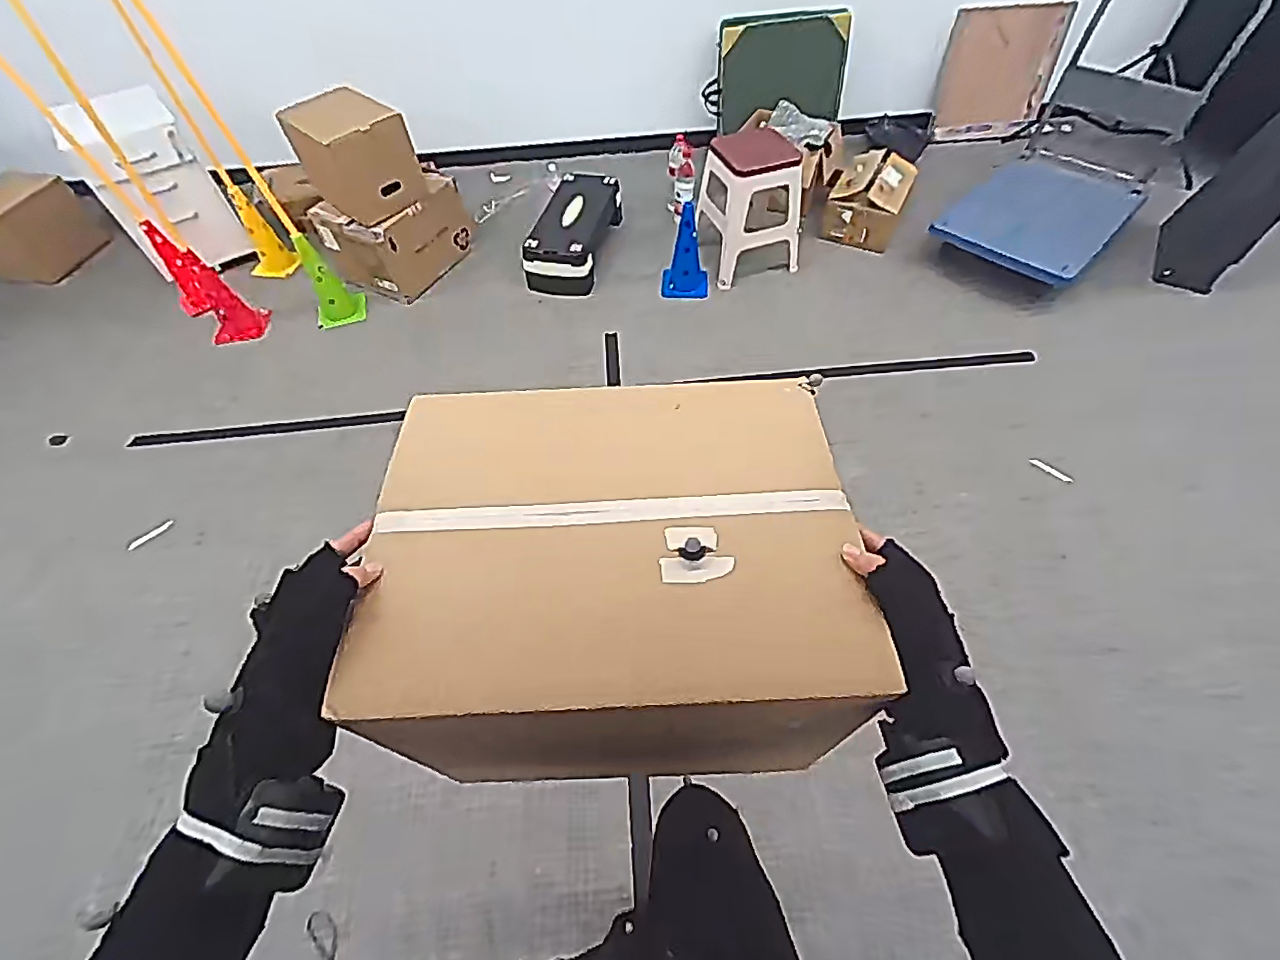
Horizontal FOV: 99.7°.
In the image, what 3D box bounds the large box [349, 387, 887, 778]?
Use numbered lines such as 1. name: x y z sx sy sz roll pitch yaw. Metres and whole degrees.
1. large box: -0.019 0.122 0.600 0.408 0.320 0.320 -2 53 0
